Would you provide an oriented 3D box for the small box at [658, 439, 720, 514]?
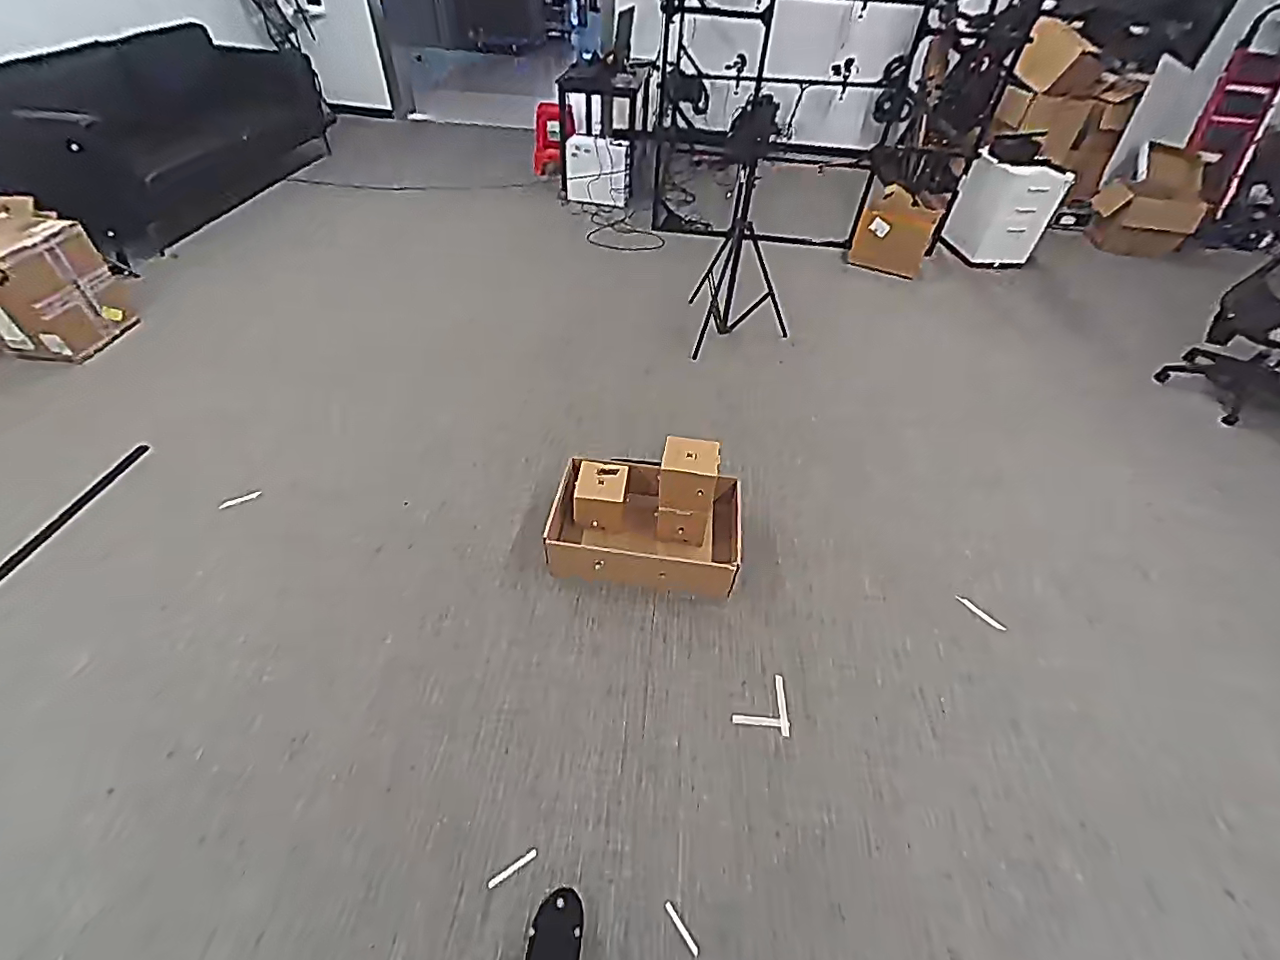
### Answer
[{"bbox_3d":[0.157,-0.008,1.751,0.179,0.176,0.168,7,44,6],"label":"small box"}]

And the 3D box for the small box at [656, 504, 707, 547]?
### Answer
[{"bbox_3d":[0.147,0.111,1.865,0.168,0.176,0.179,6,47,6],"label":"small box"}]
